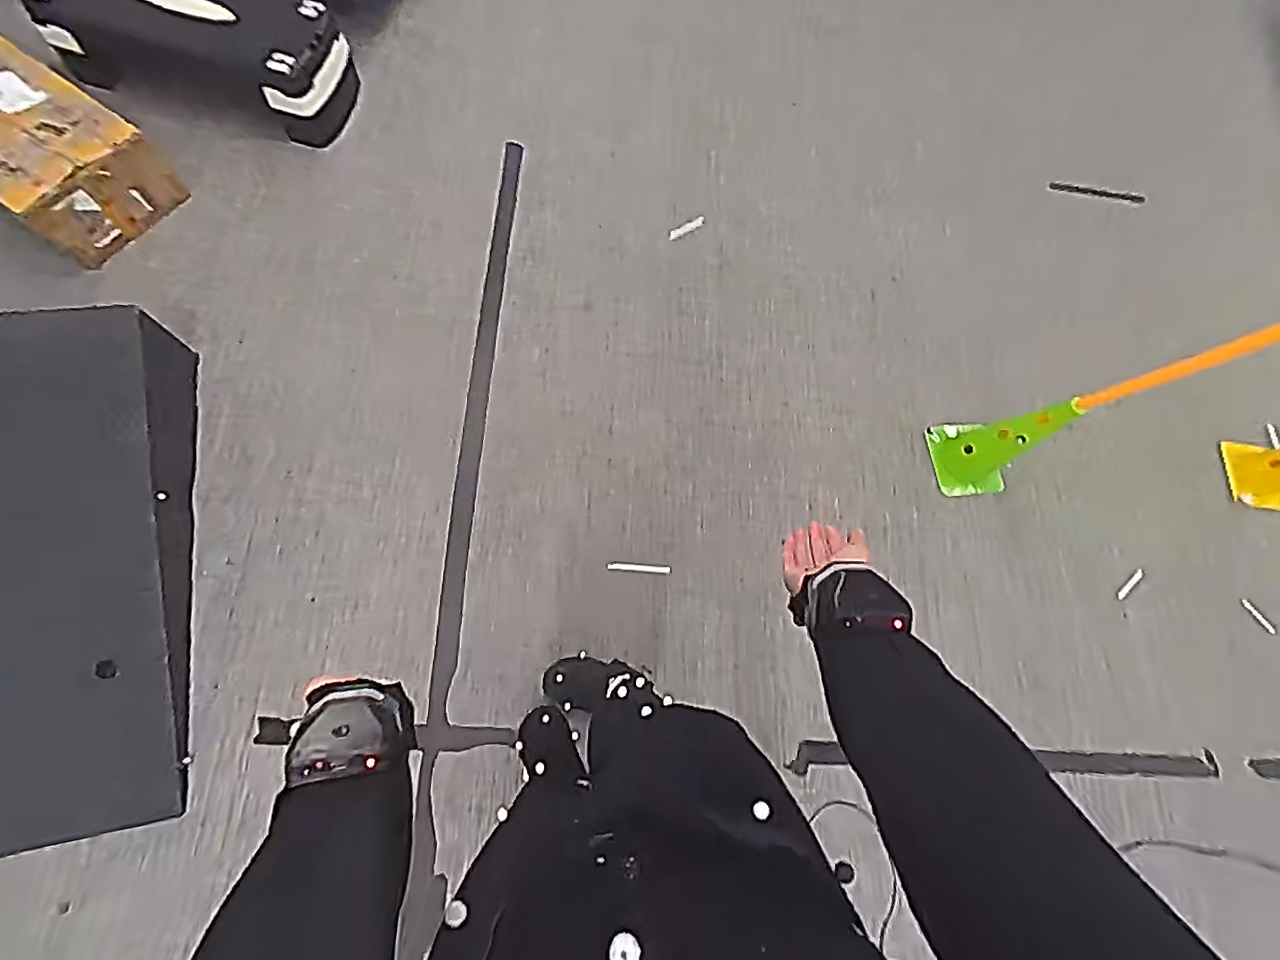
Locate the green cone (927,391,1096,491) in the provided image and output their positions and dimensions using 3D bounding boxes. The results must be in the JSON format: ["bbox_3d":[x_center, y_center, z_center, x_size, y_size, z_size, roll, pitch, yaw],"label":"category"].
[{"bbox_3d":[0.930,-0.119,1.331,0.202,0.368,0.200,-5,74,-12],"label":"green cone"}]
